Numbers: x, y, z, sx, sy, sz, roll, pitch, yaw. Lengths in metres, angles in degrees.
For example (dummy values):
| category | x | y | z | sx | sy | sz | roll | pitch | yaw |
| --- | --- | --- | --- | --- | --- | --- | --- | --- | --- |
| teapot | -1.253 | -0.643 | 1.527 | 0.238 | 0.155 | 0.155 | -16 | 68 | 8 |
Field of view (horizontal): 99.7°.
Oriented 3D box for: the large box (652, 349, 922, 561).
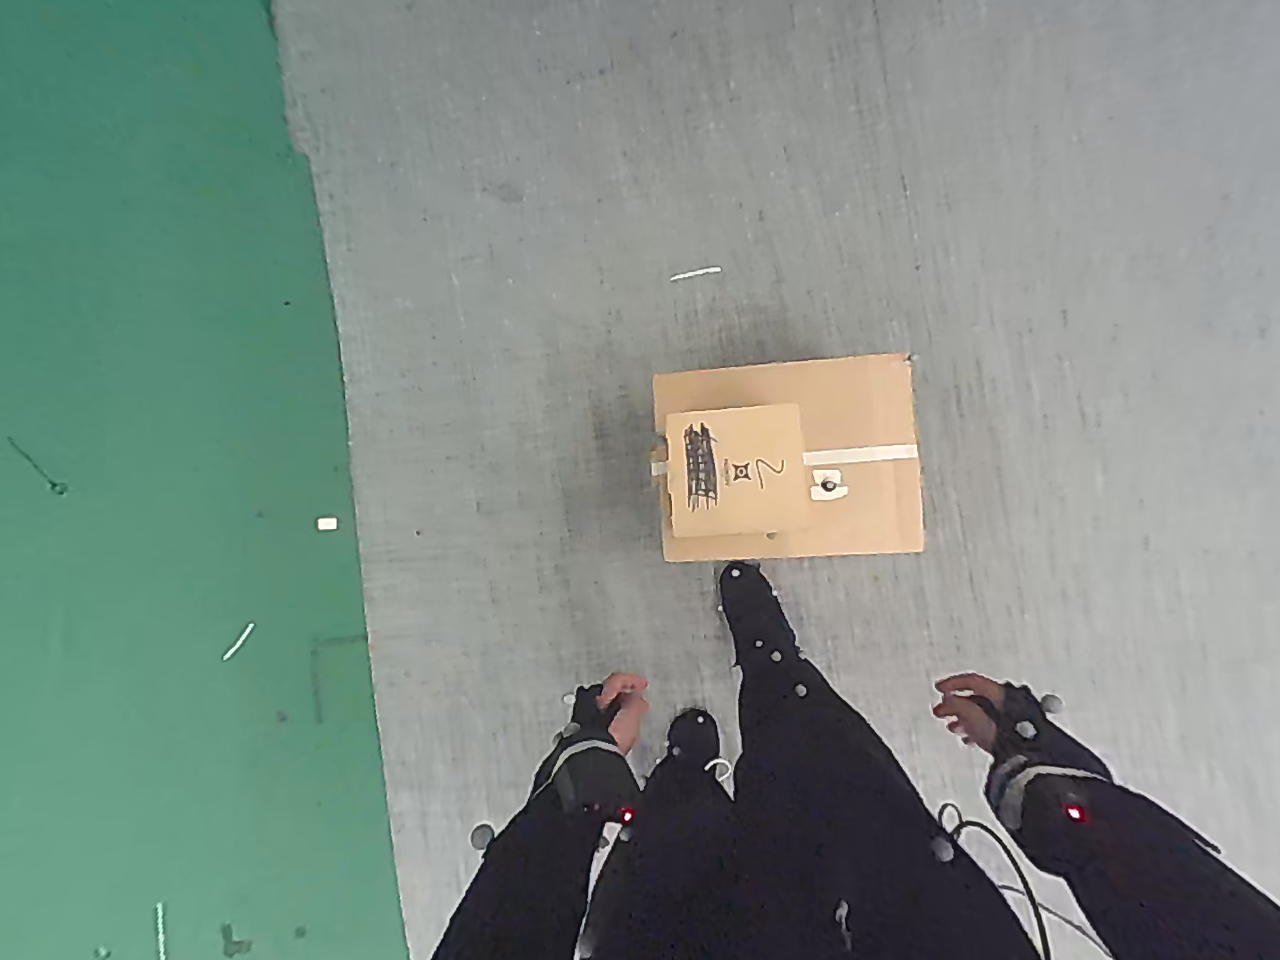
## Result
| category | x | y | z | sx | sy | sz | roll | pitch | yaw |
| --- | --- | --- | --- | --- | --- | --- | --- | --- | --- |
| large box | 0.244 | -0.033 | 1.006 | 0.408 | 0.320 | 0.320 | -4 | 89 | 7 |
